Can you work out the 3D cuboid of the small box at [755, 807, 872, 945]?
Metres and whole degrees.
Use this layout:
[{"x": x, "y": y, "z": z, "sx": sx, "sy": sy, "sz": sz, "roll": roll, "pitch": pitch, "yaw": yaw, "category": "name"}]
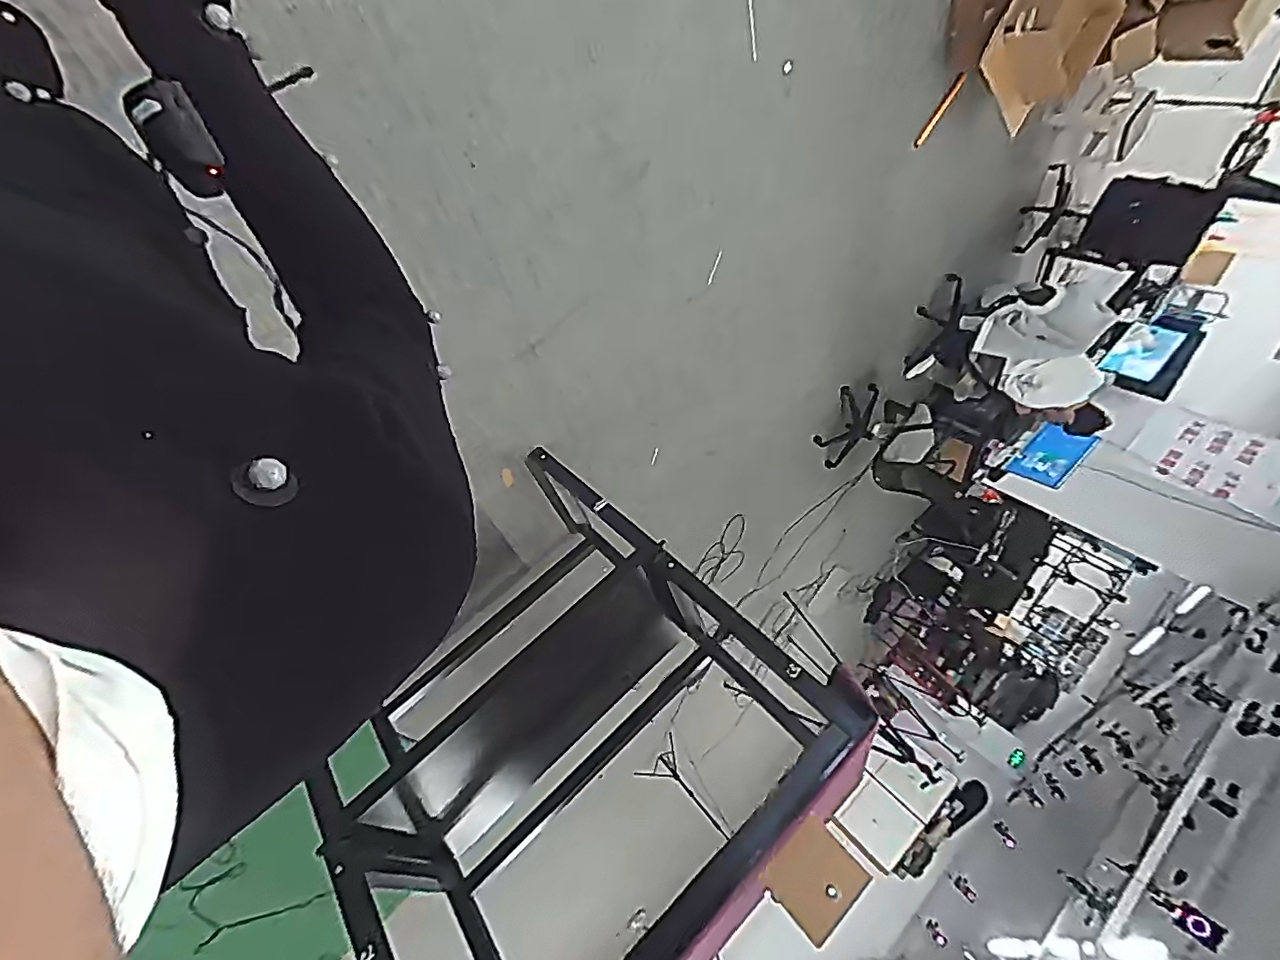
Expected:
[{"x": 0.370, "y": 0.854, "z": 1.173, "sx": 0.179, "sy": 0.176, "sz": 0.168, "roll": -38, "pitch": 141, "yaw": -18, "category": "small box"}]
